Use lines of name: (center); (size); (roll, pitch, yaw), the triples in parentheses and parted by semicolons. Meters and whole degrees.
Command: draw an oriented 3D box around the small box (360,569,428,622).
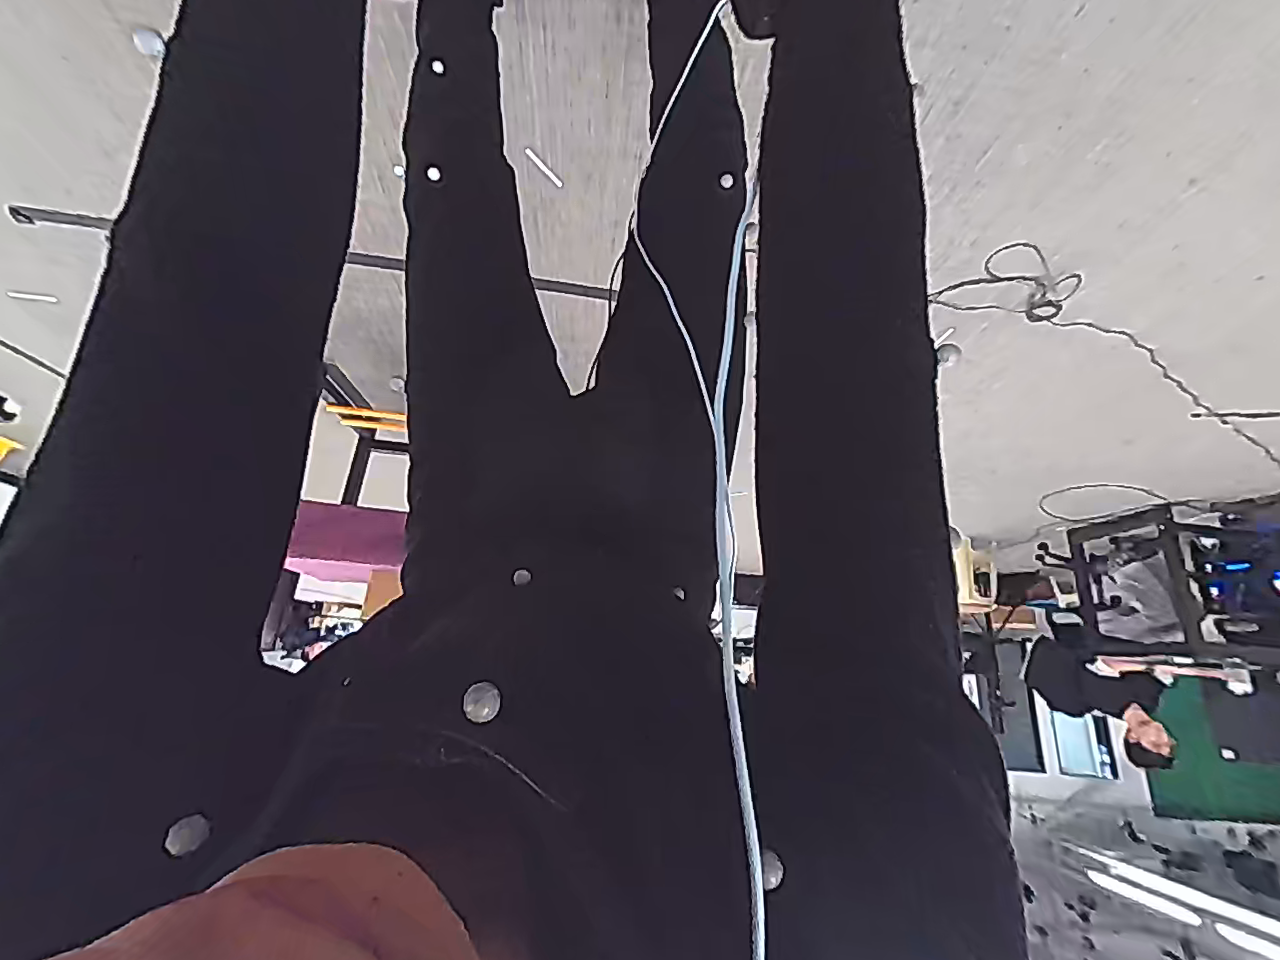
small box: (-0.903, 0.427, 1.997); (0.179, 0.176, 0.168); (7, 161, -8)
